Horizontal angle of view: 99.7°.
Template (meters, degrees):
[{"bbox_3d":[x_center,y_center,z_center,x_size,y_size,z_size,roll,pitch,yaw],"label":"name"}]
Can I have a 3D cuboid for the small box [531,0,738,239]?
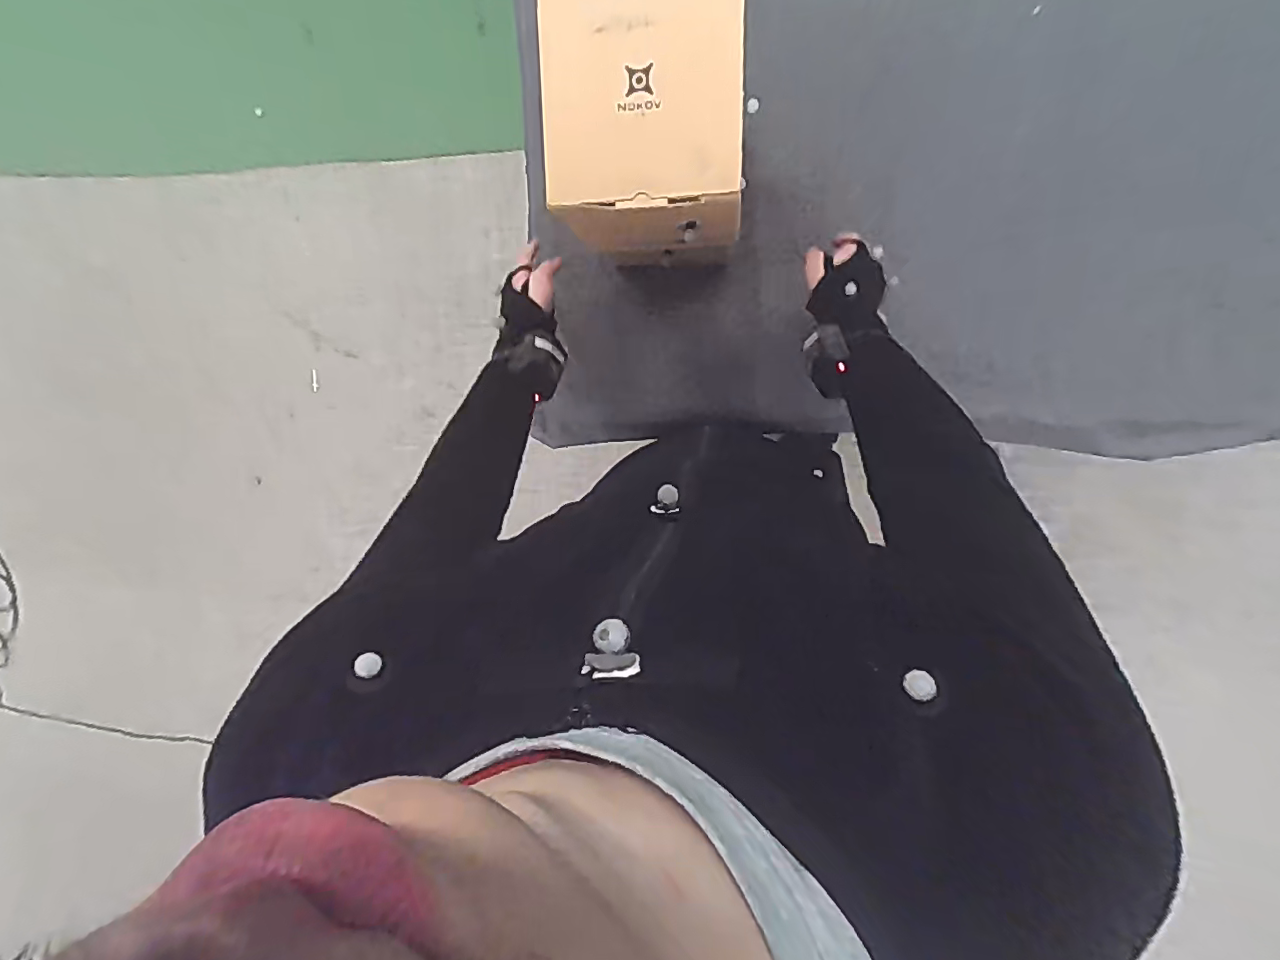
[{"bbox_3d":[0.007,-0.336,0.506,0.168,0.176,0.179,0,99,8],"label":"small box"}]

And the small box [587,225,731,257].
[{"bbox_3d":[0.031,-0.378,0.662,0.168,0.176,0.179,2,101,8],"label":"small box"}]
